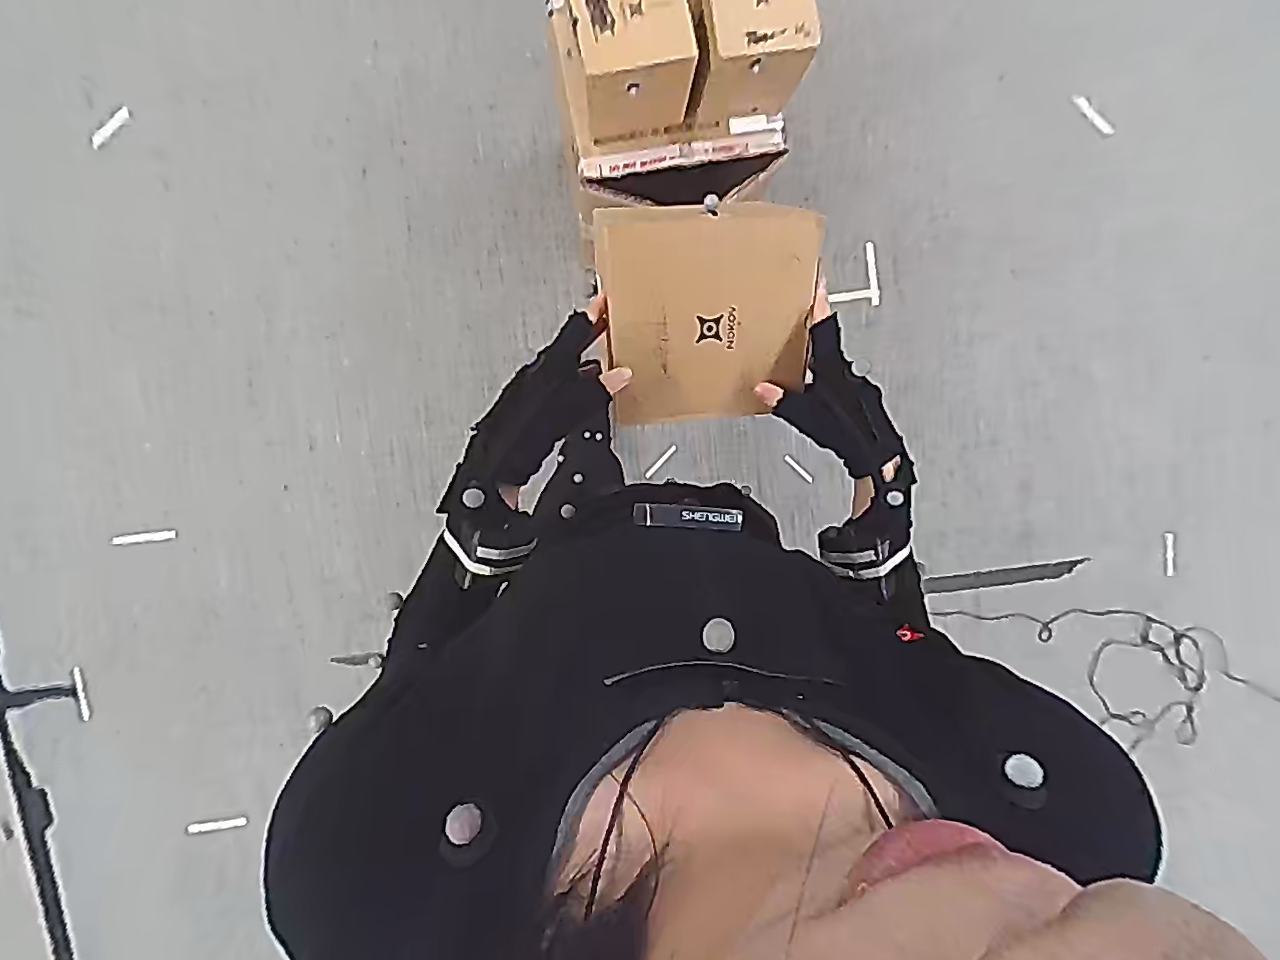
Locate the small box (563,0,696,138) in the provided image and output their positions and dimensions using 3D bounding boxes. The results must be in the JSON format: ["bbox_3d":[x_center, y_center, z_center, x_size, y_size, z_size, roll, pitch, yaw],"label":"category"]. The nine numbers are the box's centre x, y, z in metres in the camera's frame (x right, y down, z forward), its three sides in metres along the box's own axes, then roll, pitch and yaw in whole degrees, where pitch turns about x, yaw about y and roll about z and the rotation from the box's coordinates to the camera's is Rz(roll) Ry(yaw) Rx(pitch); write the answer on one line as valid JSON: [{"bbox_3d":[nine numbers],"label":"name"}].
[{"bbox_3d":[-0.021,-0.692,0.877,0.179,0.176,0.168,-13,94,-3],"label":"small box"}]

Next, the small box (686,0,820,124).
[{"bbox_3d":[0.172,-0.733,0.893,0.168,0.176,0.179,-11,93,-6],"label":"small box"}]

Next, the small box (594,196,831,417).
[{"bbox_3d":[0.053,-0.173,0.514,0.179,0.176,0.168,-5,120,-6],"label":"small box"}]
